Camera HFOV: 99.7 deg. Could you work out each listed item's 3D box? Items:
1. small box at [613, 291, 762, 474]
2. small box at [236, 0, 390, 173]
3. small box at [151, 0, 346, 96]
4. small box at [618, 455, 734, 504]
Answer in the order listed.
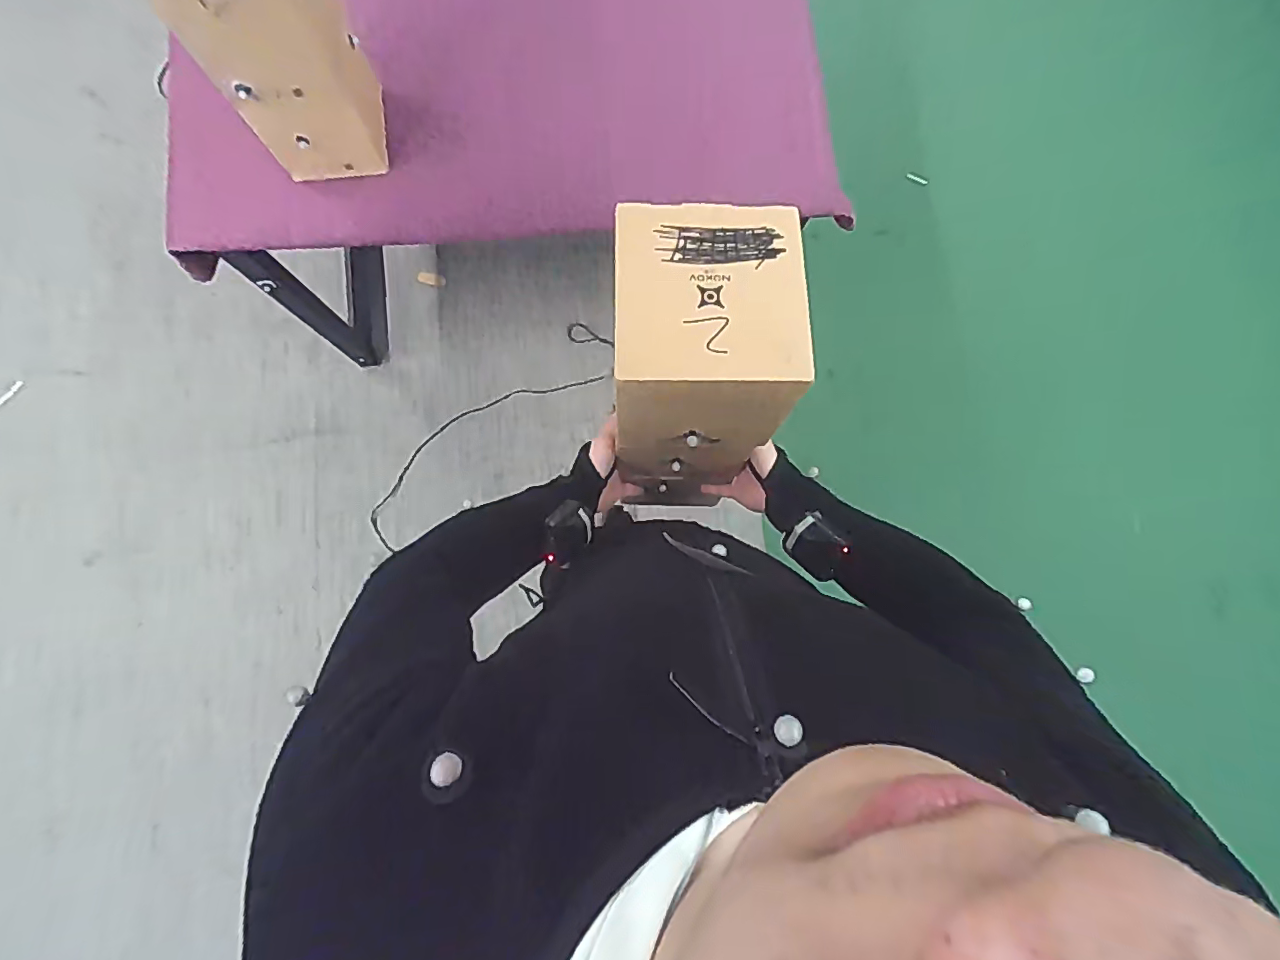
[{"bbox_3d":[0.056,-0.114,0.693,0.168,0.176,0.179,4,74,0],"label":"small box"},{"bbox_3d":[-0.534,-0.640,0.899,0.168,0.176,0.179,-8,82,-4],"label":"small box"},{"bbox_3d":[-0.523,-0.661,0.736,0.168,0.176,0.179,-7,81,-5],"label":"small box"},{"bbox_3d":[0.053,-0.069,0.853,0.168,0.176,0.179,2,74,1],"label":"small box"}]
